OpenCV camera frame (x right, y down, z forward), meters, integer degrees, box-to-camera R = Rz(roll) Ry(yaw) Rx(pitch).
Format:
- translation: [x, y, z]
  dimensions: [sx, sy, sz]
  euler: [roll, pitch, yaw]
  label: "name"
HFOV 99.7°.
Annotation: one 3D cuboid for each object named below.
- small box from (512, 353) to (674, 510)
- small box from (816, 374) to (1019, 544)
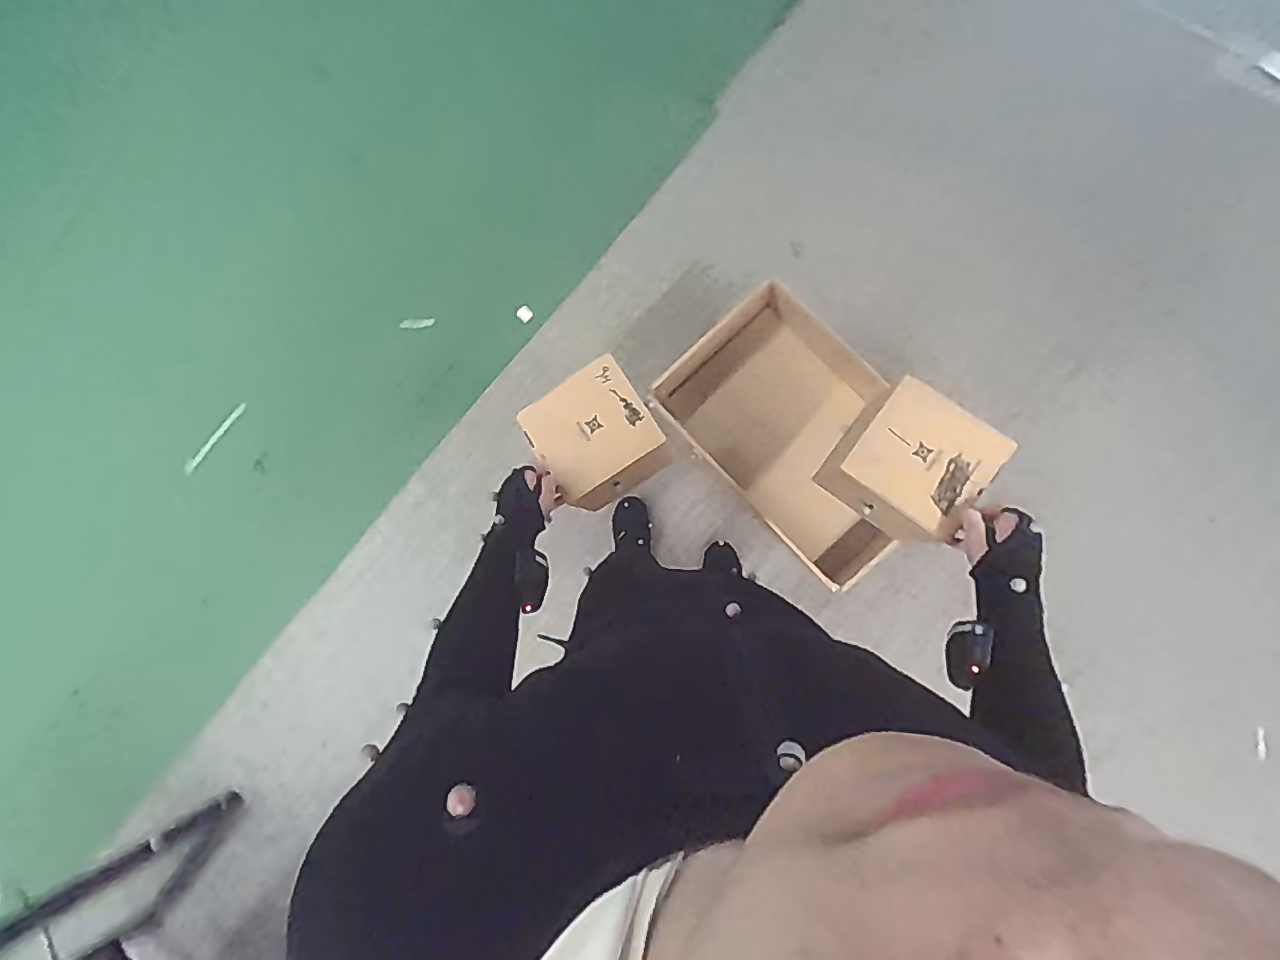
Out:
- translation: [-0.064, -0.064, 0.859]
  dimensions: [0.179, 0.176, 0.168]
  euler: [-33, 79, 5]
  label: "small box"
- translation: [0.392, -0.024, 0.798]
  dimensions: [0.179, 0.176, 0.168]
  euler: [36, 88, 8]
  label: "small box"
